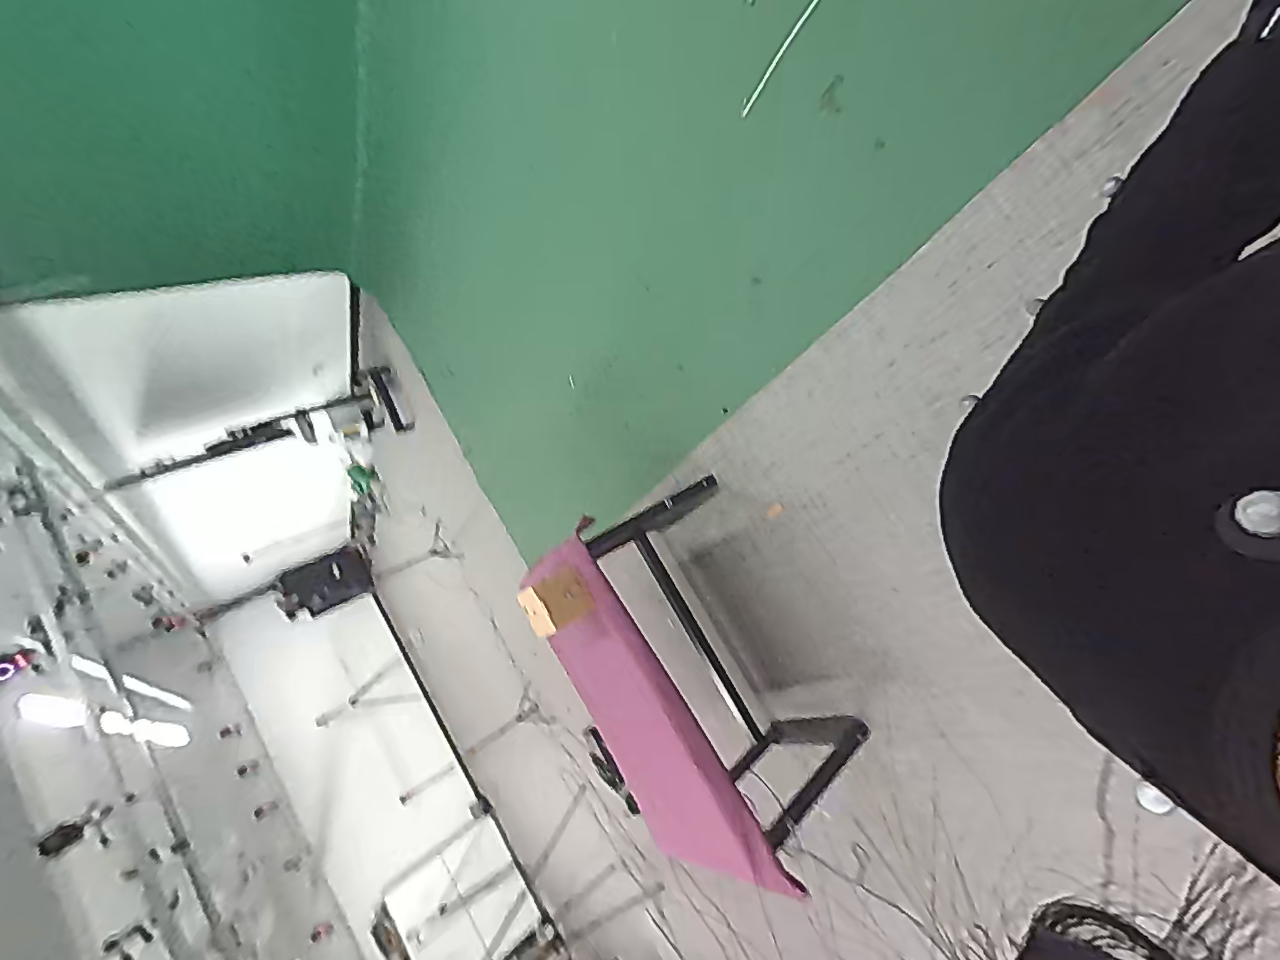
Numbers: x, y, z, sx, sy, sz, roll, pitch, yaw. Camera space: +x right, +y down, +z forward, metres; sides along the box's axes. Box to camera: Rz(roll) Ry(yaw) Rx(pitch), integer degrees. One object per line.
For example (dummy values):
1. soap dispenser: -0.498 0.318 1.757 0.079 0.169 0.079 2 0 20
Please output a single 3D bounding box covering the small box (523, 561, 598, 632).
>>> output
1. small box: -0.265 0.395 1.840 0.179 0.176 0.168 -35 82 53
